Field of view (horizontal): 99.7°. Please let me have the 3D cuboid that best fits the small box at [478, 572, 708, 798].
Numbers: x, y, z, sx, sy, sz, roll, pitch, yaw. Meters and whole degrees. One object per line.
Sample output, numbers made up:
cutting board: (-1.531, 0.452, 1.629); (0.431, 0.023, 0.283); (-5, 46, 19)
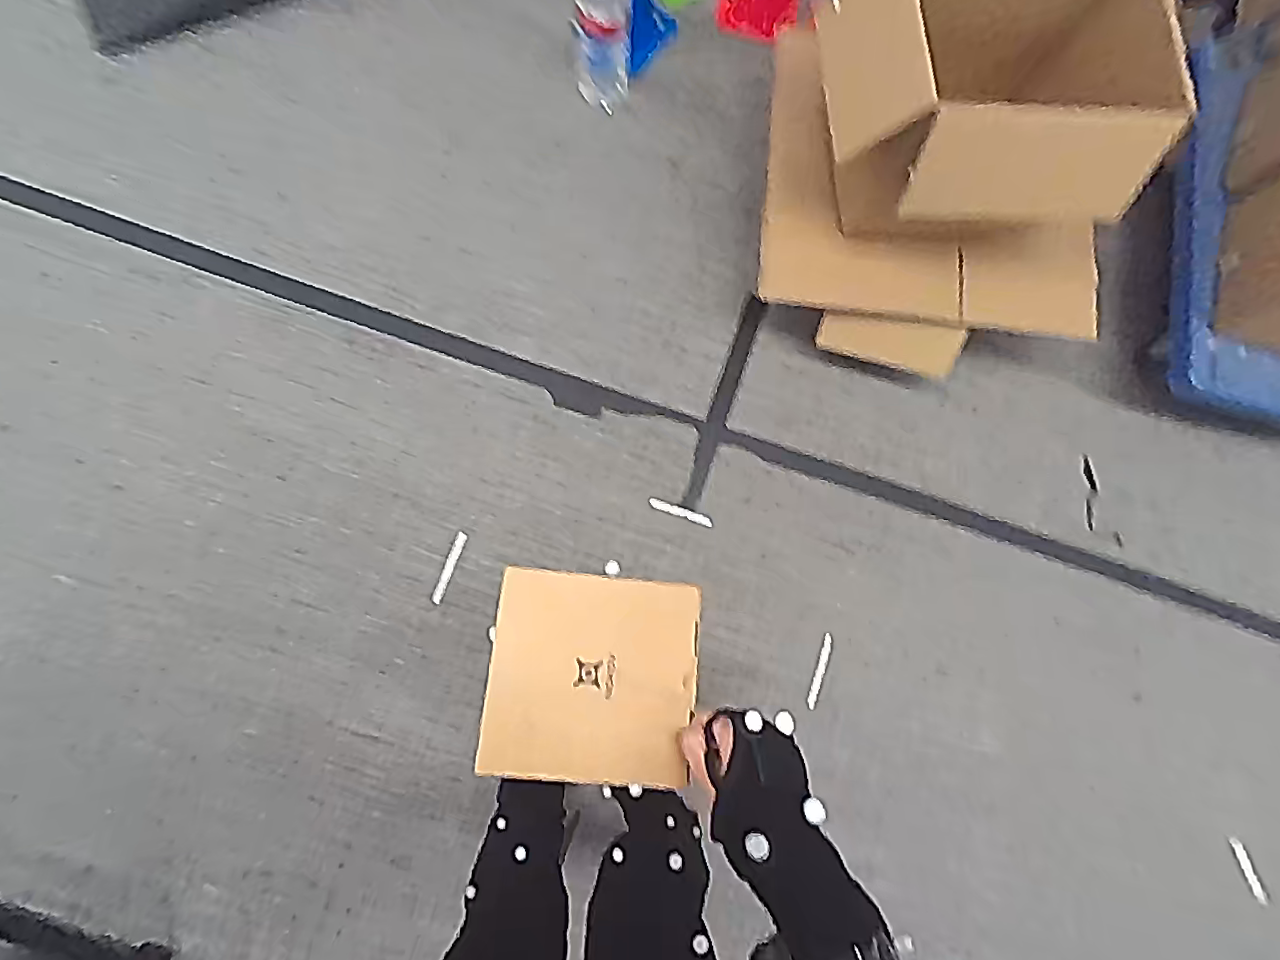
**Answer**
small box: (-0.042, 0.186, 0.521); (0.179, 0.176, 0.168); (6, 76, -6)
